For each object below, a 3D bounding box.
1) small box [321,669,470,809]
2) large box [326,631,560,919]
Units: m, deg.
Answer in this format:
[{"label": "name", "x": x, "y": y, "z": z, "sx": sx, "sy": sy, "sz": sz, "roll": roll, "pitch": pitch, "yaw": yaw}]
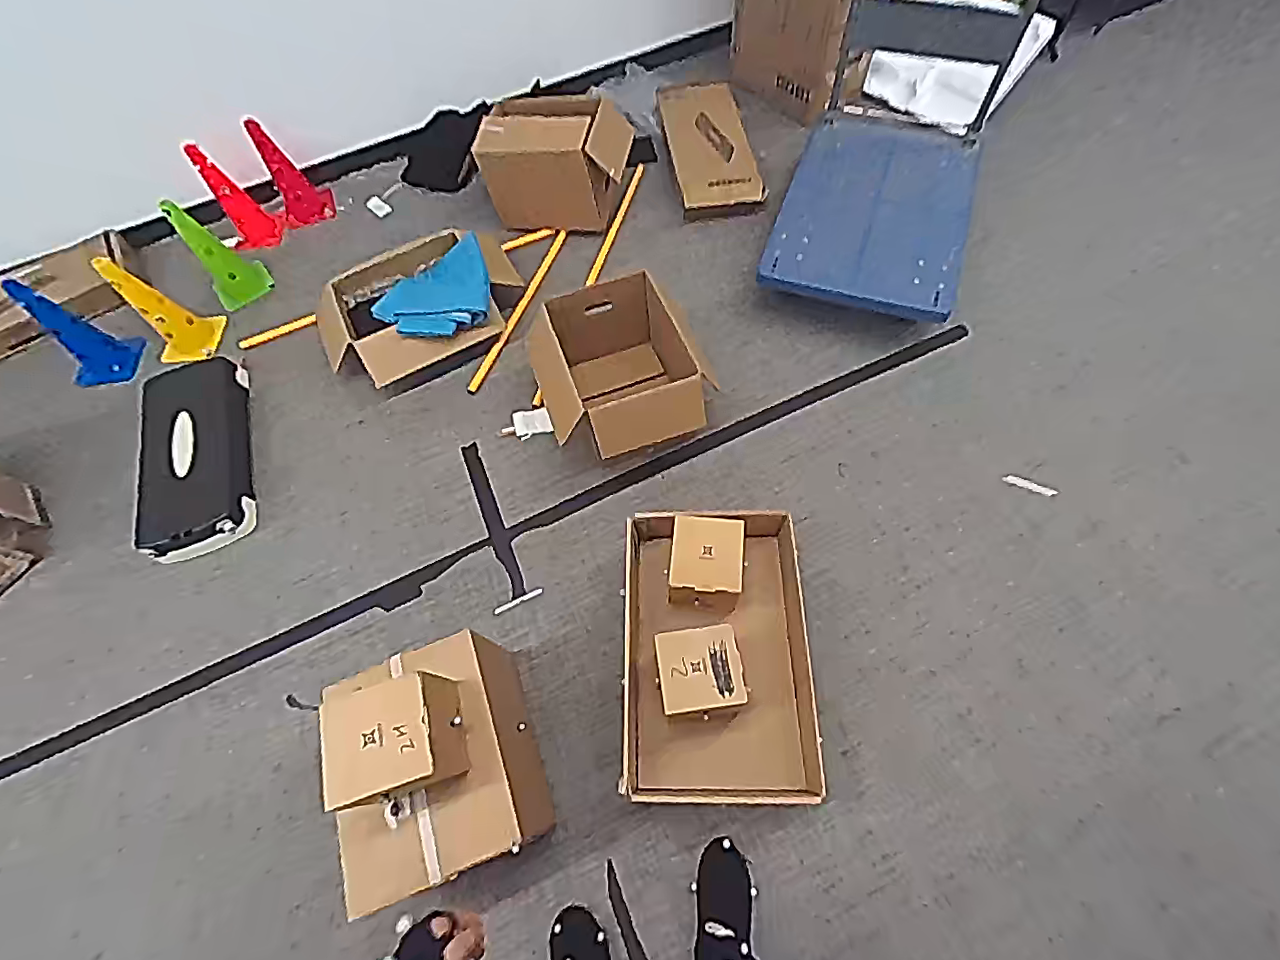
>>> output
[{"label": "small box", "x": -0.419, "y": 0.448, "z": 0.940, "sx": 0.179, "sy": 0.176, "sz": 0.168, "roll": -18, "pitch": 64, "yaw": -5}, {"label": "large box", "x": -0.400, "y": 0.589, "z": 1.145, "sx": 0.320, "sy": 0.320, "sz": 0.408, "roll": -23, "pitch": 65, "yaw": -5}]
